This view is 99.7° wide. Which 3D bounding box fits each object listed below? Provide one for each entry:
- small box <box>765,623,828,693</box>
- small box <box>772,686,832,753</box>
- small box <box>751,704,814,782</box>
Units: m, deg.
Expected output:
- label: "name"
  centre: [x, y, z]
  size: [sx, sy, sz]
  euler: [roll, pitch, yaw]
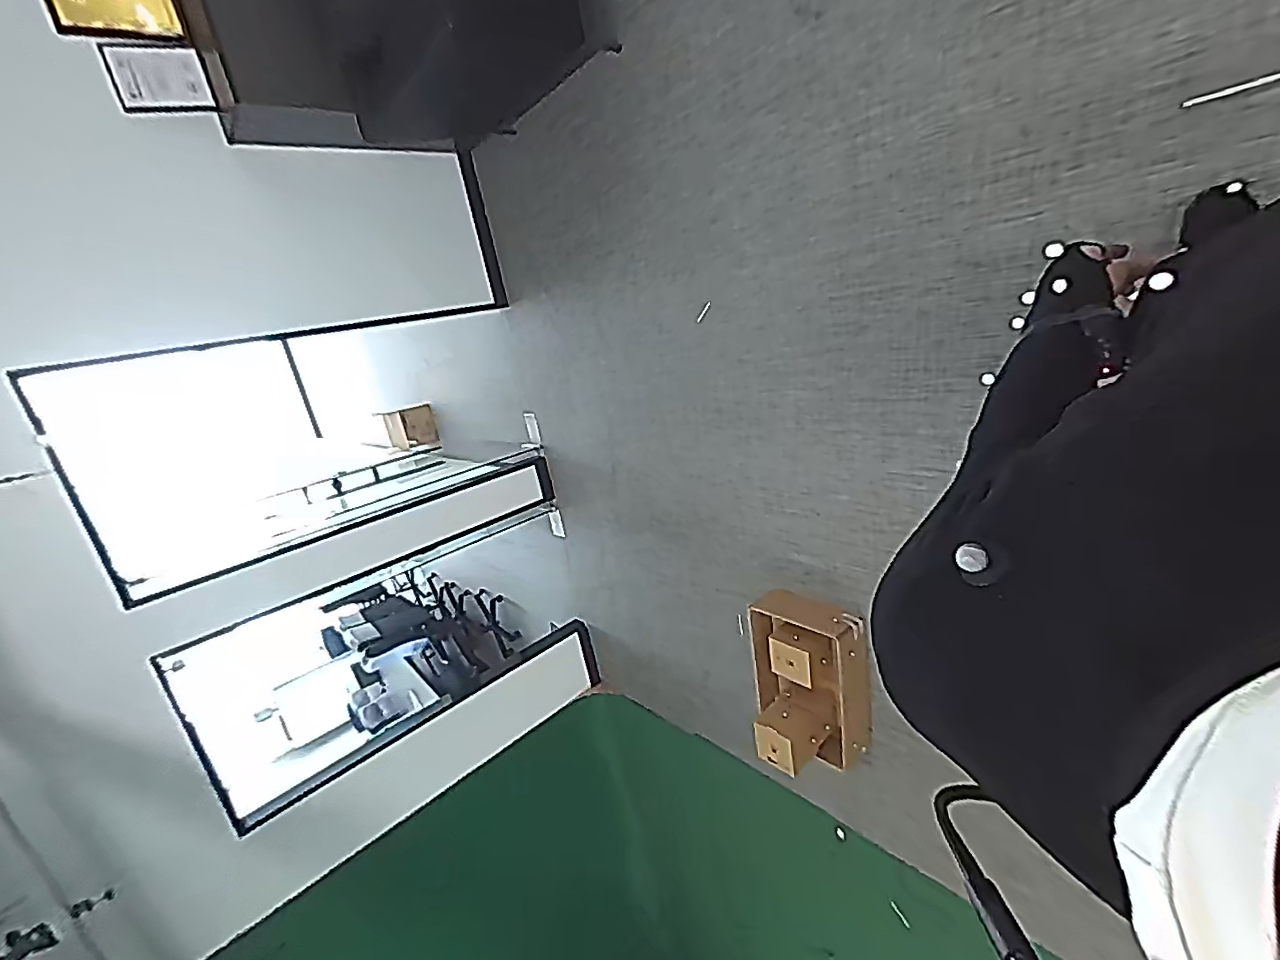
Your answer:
- label: "small box"
  centre: [0.611, 0.677, 2.089]
  size: [0.179, 0.176, 0.168]
  euler: [12, 117, 47]
- label: "small box"
  centre: [0.658, 0.947, 2.172]
  size: [0.179, 0.176, 0.168]
  euler: [10, 115, 48]
- label: "small box"
  centre: [0.545, 0.994, 2.061]
  size: [0.168, 0.176, 0.179]
  euler: [10, 114, 48]
